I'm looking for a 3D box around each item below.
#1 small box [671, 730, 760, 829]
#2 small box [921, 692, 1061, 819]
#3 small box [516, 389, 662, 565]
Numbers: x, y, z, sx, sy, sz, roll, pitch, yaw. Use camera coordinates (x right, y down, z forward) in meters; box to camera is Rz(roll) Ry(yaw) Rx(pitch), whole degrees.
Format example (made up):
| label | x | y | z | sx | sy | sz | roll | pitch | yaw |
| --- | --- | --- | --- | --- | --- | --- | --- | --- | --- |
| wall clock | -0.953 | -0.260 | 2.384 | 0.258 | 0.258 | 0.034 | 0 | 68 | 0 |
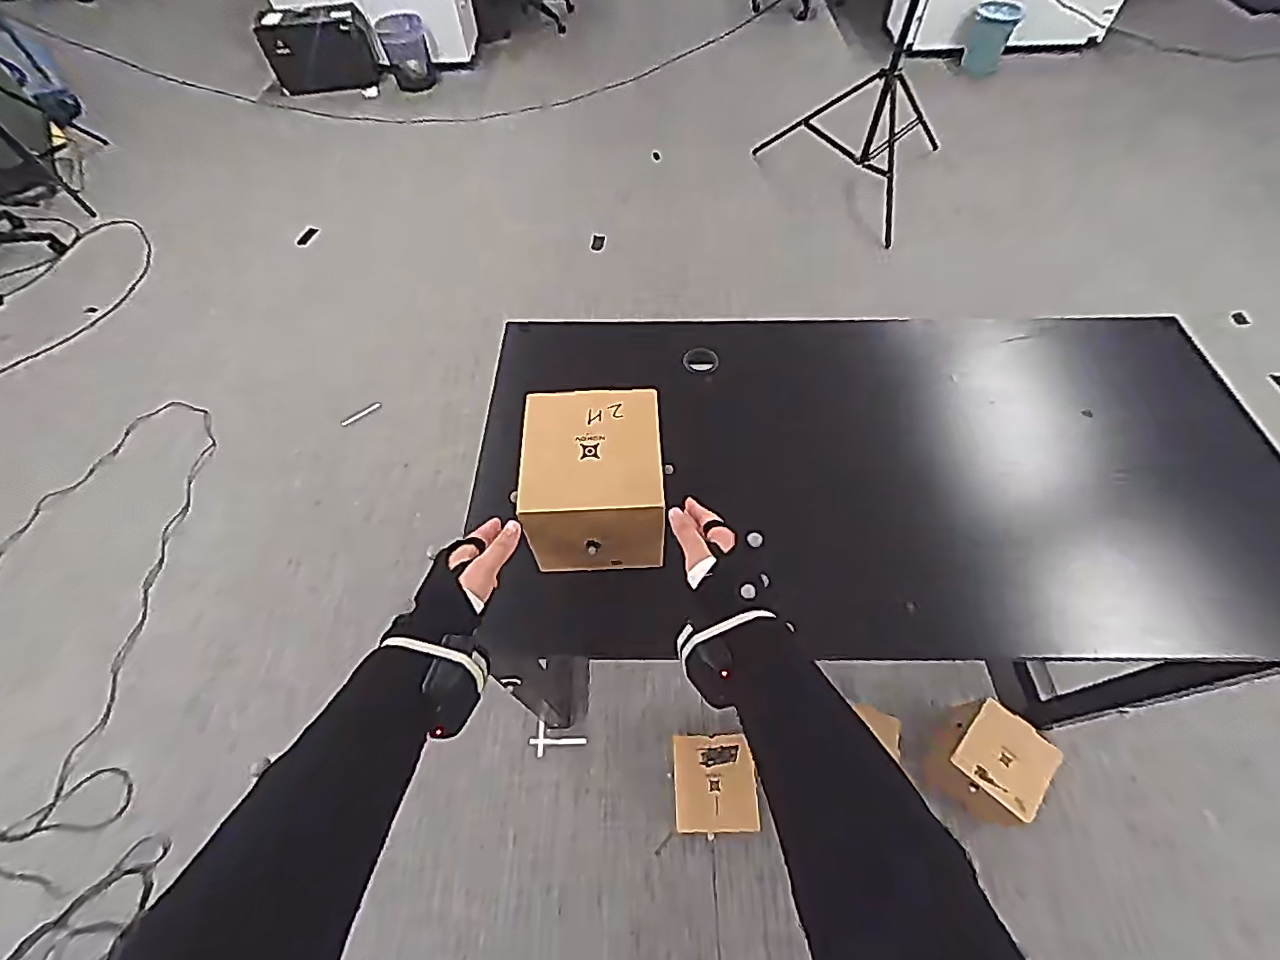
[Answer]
| label | x | y | z | sx | sy | sz | roll | pitch | yaw |
| --- | --- | --- | --- | --- | --- | --- | --- | --- | --- |
| small box | 0.154 | 0.645 | 1.163 | 0.168 | 0.176 | 0.179 | -2 | 59 | 1 |
| small box | 0.750 | 0.599 | 1.174 | 0.168 | 0.176 | 0.179 | 38 | 66 | 23 |
| small box | -0.057 | 0.004 | 0.709 | 0.168 | 0.176 | 0.179 | -3 | 57 | -1 |
